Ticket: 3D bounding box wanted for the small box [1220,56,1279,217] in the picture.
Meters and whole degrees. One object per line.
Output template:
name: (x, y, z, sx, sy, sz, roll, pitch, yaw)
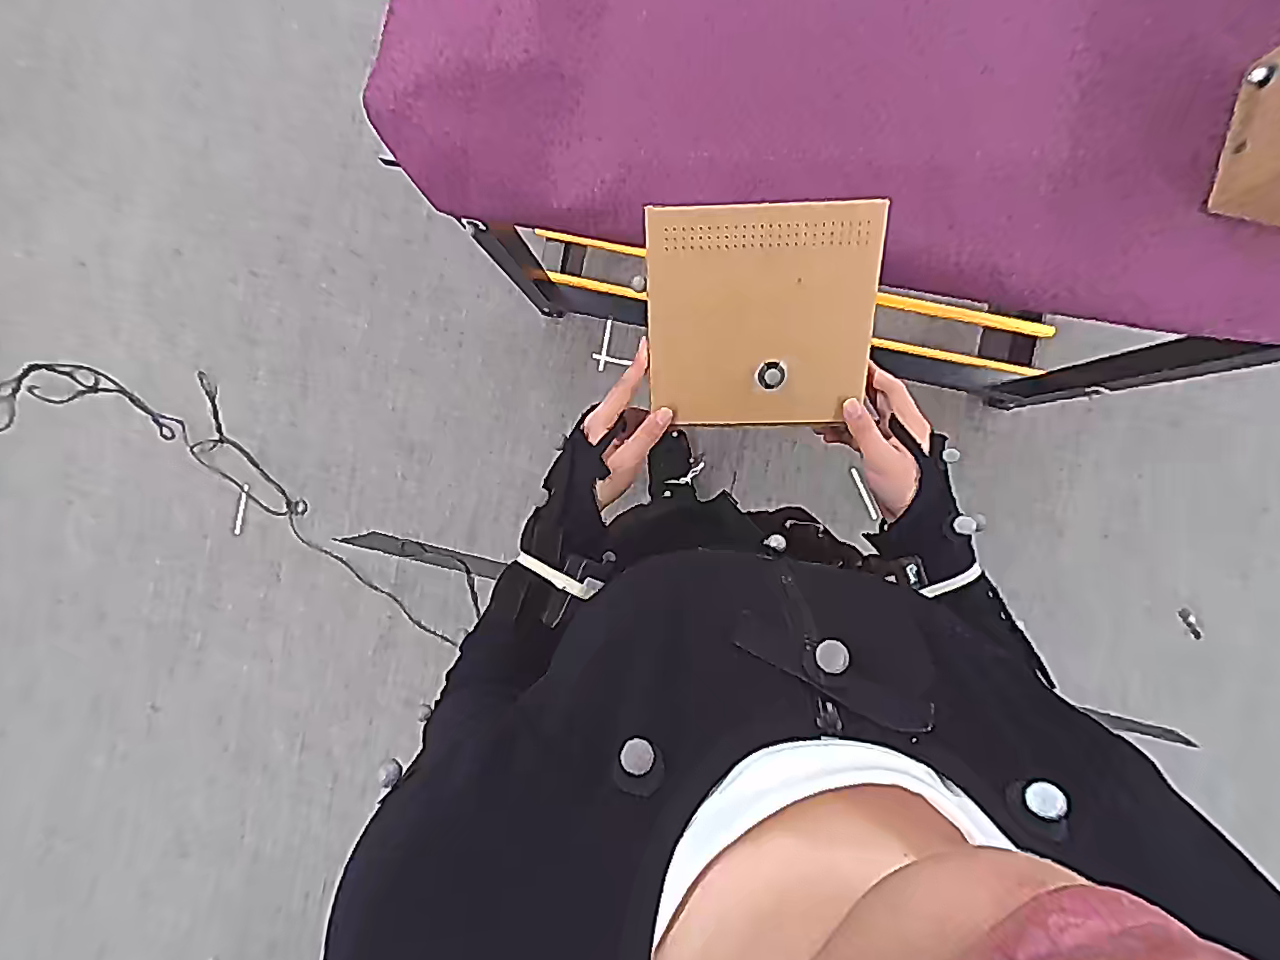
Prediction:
small box: (0.724, -0.354, 0.506, 0.179, 0.176, 0.168, 15, 92, 3)
